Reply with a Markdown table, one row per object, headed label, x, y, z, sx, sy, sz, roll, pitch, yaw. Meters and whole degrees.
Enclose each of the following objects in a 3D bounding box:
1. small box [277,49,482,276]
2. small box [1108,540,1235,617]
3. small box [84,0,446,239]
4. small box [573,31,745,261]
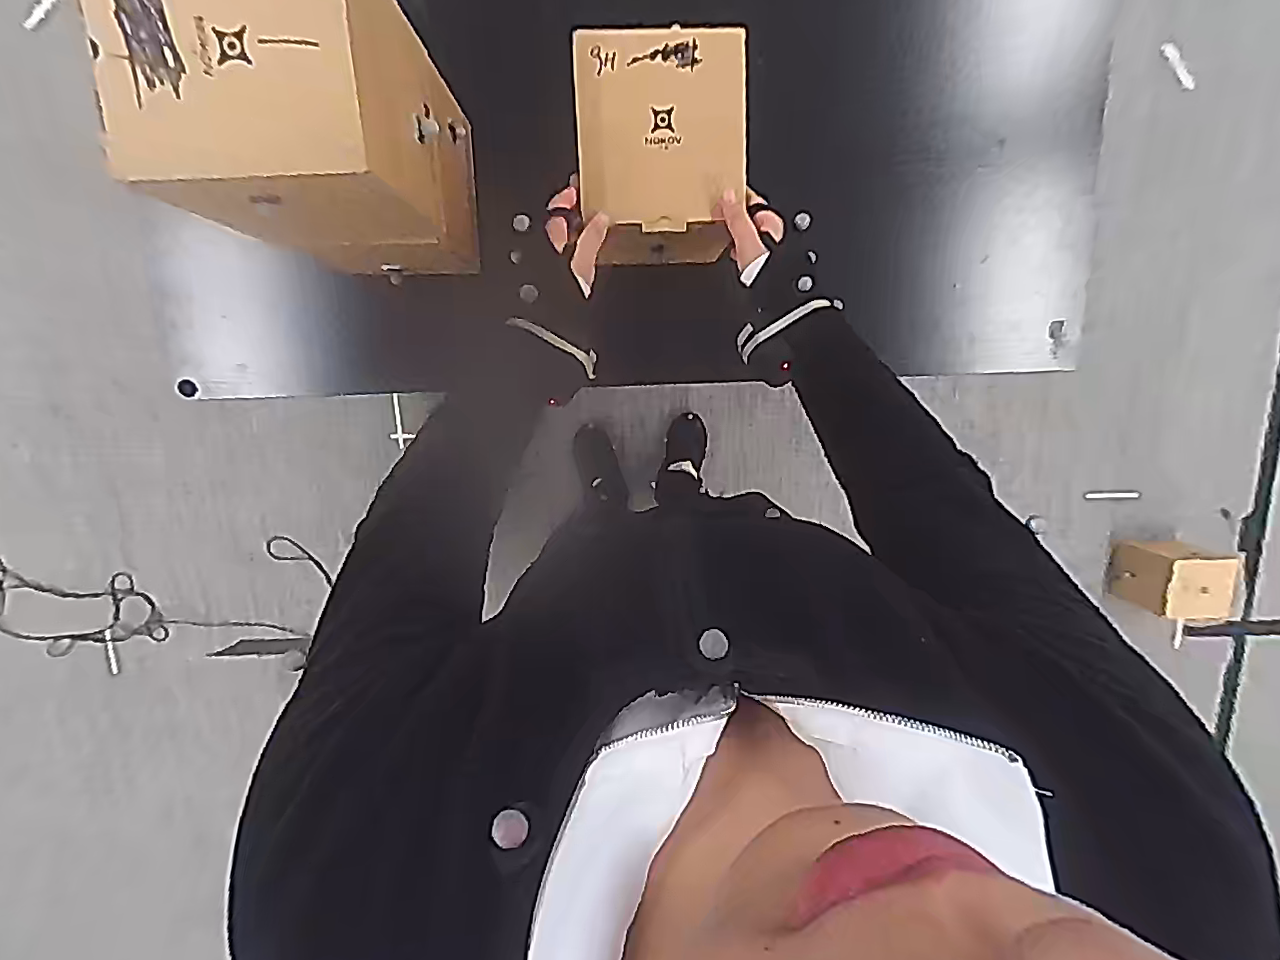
| label | x | y | z | sx | sy | sz | roll | pitch | yaw |
| --- | --- | --- | --- | --- | --- | --- | --- | --- | --- |
| small box | -0.282 | -0.335 | 0.600 | 0.168 | 0.176 | 0.179 | -2 | 101 | -1 |
| small box | 1.466 | 0.268 | 1.502 | 0.179 | 0.176 | 0.168 | -1 | 100 | -1 |
| small box | -0.277 | -0.304 | 0.438 | 0.179 | 0.176 | 0.168 | -3 | 100 | -1 |
| small box | 0.017 | -0.349 | 0.602 | 0.168 | 0.176 | 0.179 | -2 | 99 | -2 |
